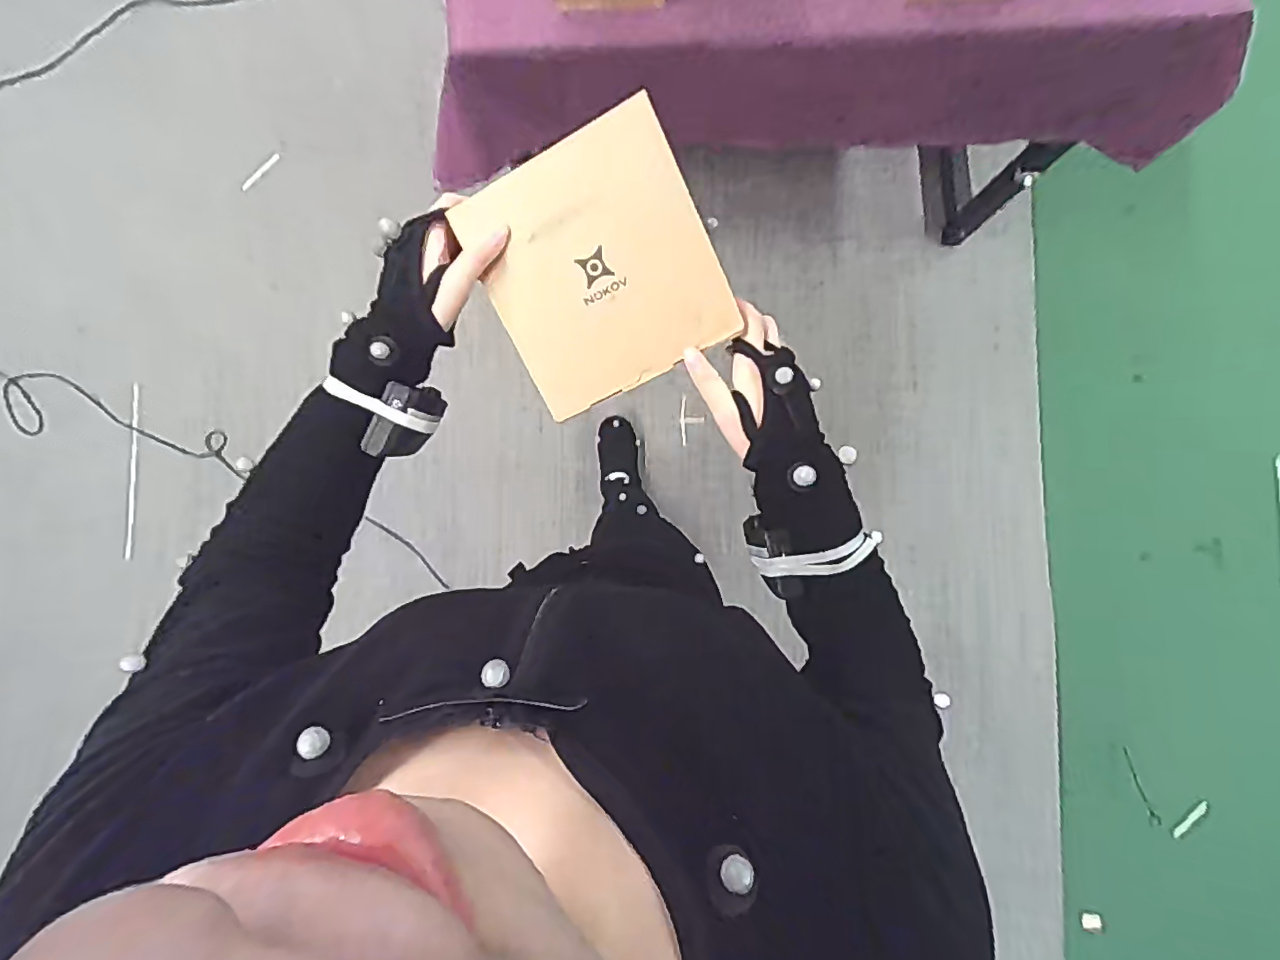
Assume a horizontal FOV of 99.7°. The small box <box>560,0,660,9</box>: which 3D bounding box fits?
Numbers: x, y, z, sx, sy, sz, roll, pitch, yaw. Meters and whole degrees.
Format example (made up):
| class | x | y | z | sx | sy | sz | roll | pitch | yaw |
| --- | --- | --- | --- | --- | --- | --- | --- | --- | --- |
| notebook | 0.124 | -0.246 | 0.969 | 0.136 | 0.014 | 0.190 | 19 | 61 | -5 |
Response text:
| class | x | y | z | sx | sy | sz | roll | pitch | yaw |
| --- | --- | --- | --- | --- | --- | --- | --- | --- | --- |
| small box | -0.048 | -0.797 | 0.733 | 0.168 | 0.176 | 0.179 | -2 | 87 | -1 |
